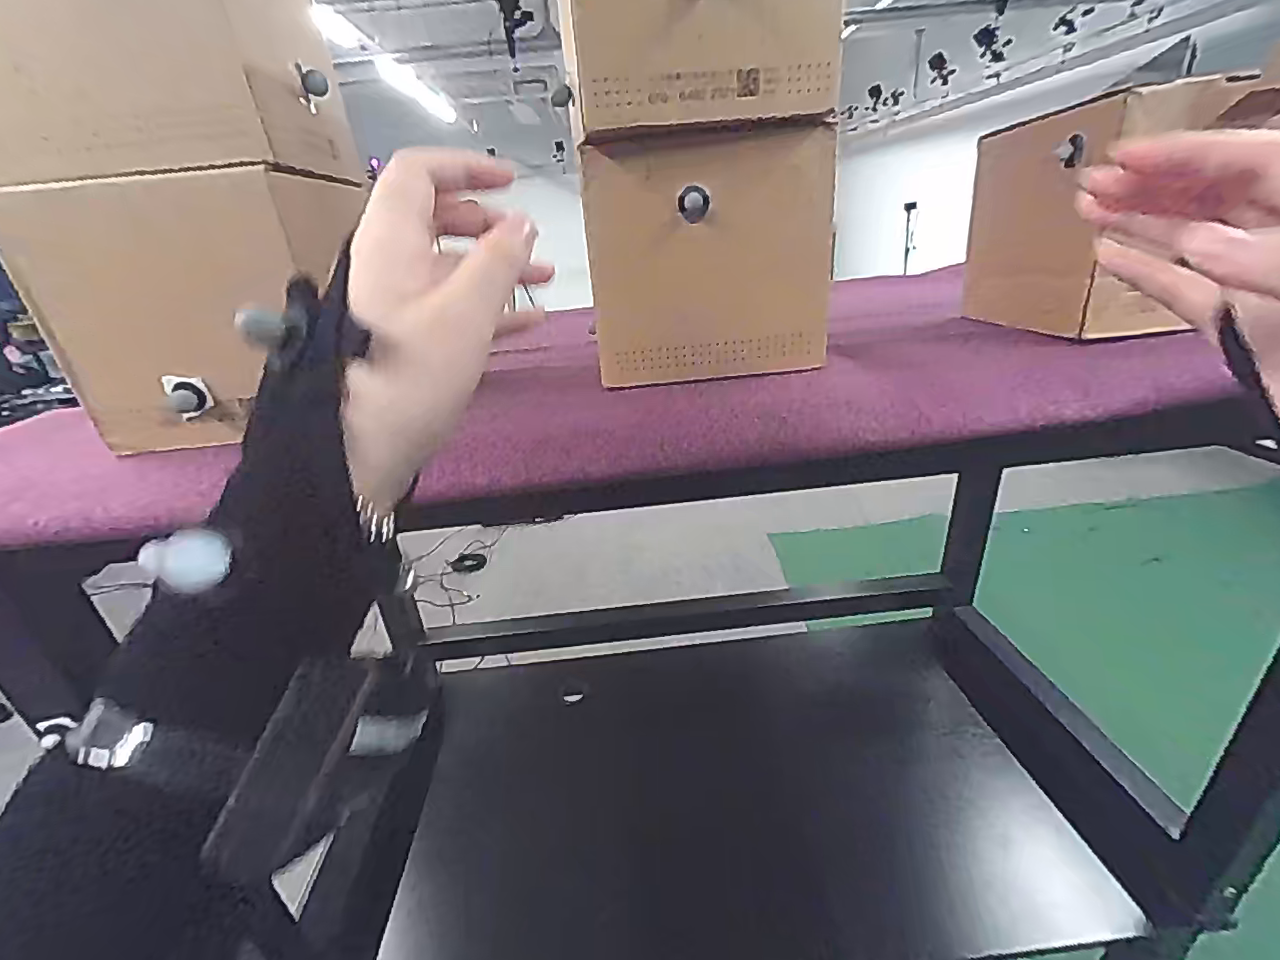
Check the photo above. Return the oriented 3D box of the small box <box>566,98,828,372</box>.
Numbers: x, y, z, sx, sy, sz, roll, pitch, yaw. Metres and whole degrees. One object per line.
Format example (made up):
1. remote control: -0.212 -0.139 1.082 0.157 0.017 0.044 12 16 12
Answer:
1. small box: 0.042 -0.191 0.452 0.179 0.176 0.168 -5 24 -1

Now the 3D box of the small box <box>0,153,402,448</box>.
1. small box: -0.302 -0.137 0.413 0.168 0.176 0.179 -9 26 -4

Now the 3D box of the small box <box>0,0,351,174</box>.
1. small box: -0.323 -0.285 0.344 0.179 0.176 0.168 -9 26 -5

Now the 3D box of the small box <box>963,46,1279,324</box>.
1. small box: 0.401 -0.229 0.451 0.168 0.176 0.179 -6 23 2

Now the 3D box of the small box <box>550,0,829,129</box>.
1. small box: 0.022 -0.335 0.375 0.168 0.176 0.179 -8 24 -5
